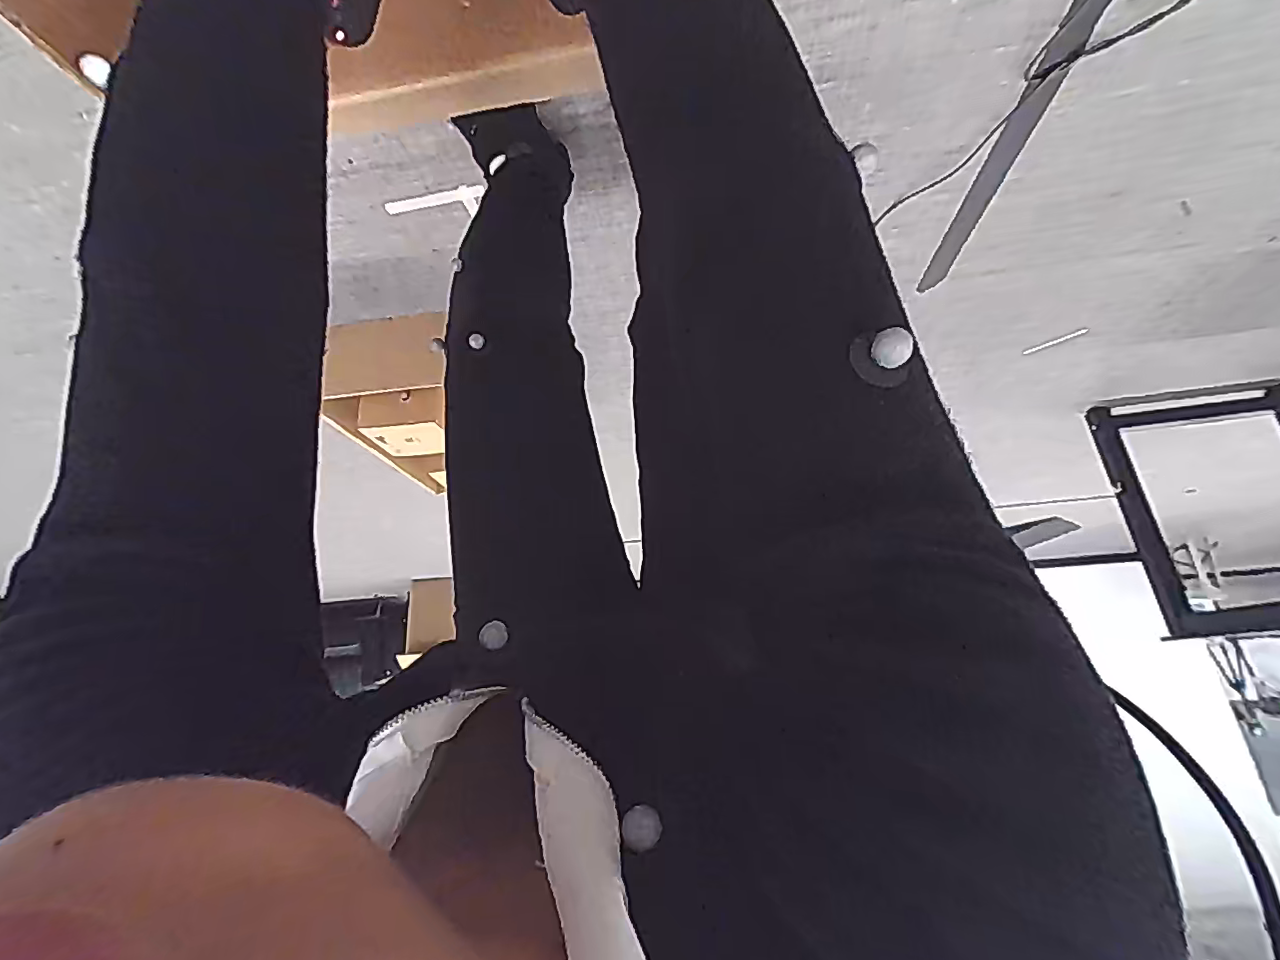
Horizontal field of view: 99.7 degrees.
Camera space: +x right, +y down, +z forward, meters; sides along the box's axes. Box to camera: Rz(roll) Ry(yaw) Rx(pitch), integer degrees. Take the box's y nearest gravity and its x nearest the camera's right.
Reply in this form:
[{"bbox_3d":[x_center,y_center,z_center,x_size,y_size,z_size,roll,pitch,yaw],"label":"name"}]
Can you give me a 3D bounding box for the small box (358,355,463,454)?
[{"bbox_3d":[-0.525,-0.174,1.254,0.179,0.176,0.168,-6,161,2],"label":"small box"}]
